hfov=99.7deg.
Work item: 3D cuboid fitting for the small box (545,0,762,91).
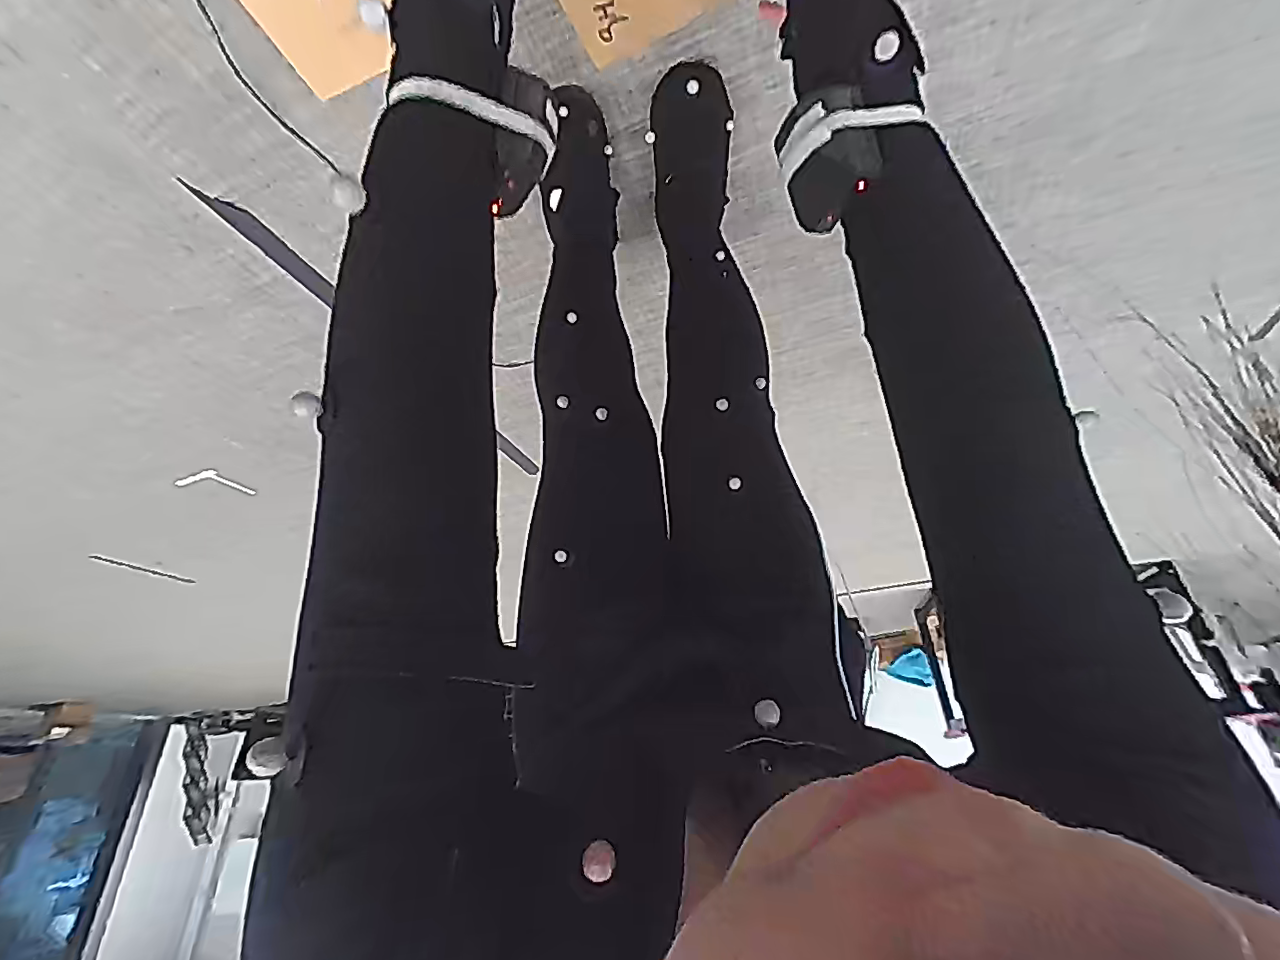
[{"bbox_3d":[0.002,-0.429,0.361,0.179,0.176,0.168,-13,157,24],"label":"small box"}]
